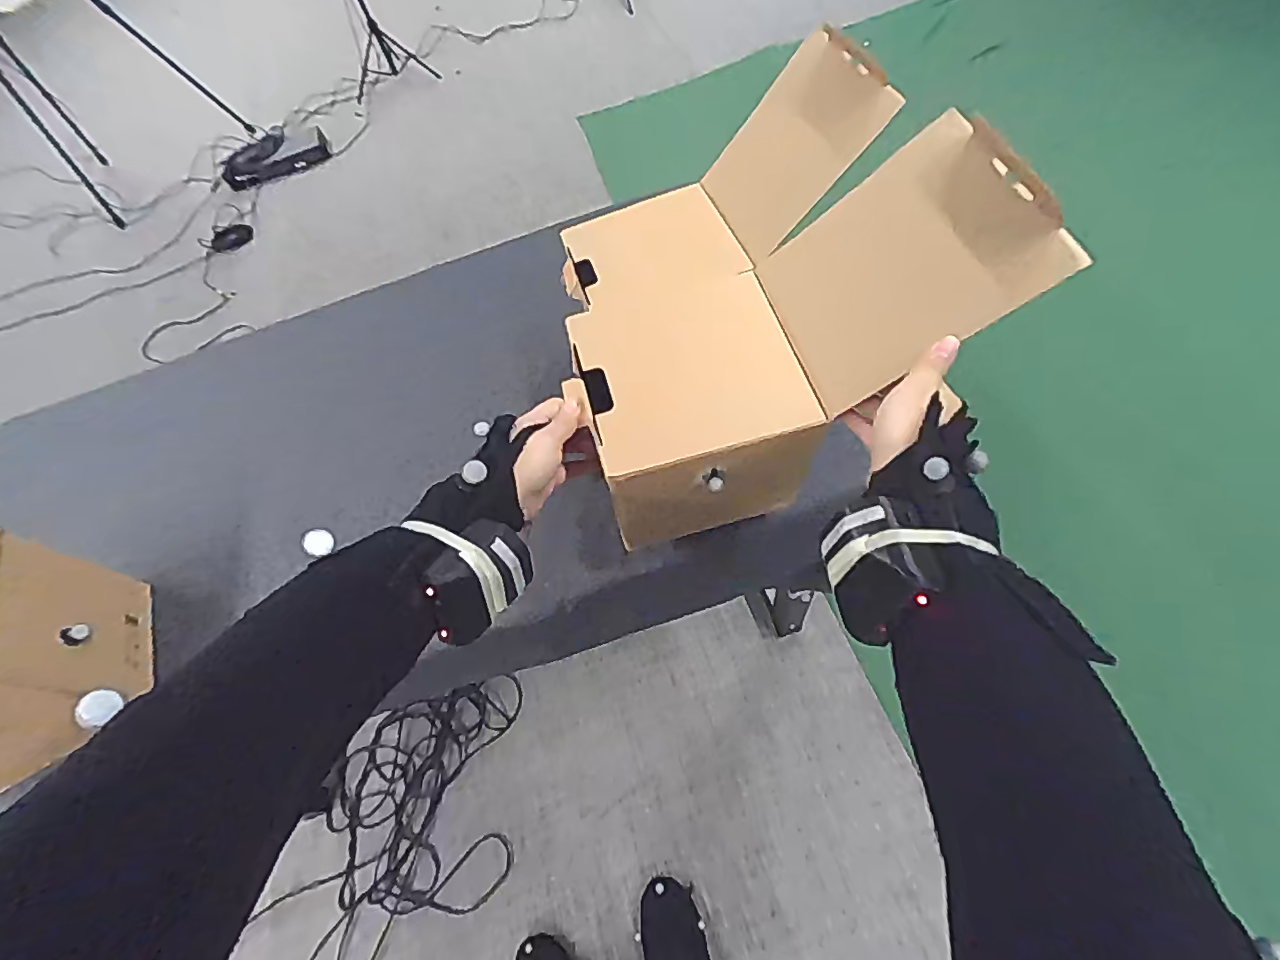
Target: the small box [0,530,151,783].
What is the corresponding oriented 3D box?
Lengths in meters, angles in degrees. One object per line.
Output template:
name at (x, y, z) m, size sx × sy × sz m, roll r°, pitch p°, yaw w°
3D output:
small box at (-0.652, 0.186, 0.553) m, size 0.179 × 0.176 × 0.168 m, roll -30°, pitch 59°, yaw -7°
